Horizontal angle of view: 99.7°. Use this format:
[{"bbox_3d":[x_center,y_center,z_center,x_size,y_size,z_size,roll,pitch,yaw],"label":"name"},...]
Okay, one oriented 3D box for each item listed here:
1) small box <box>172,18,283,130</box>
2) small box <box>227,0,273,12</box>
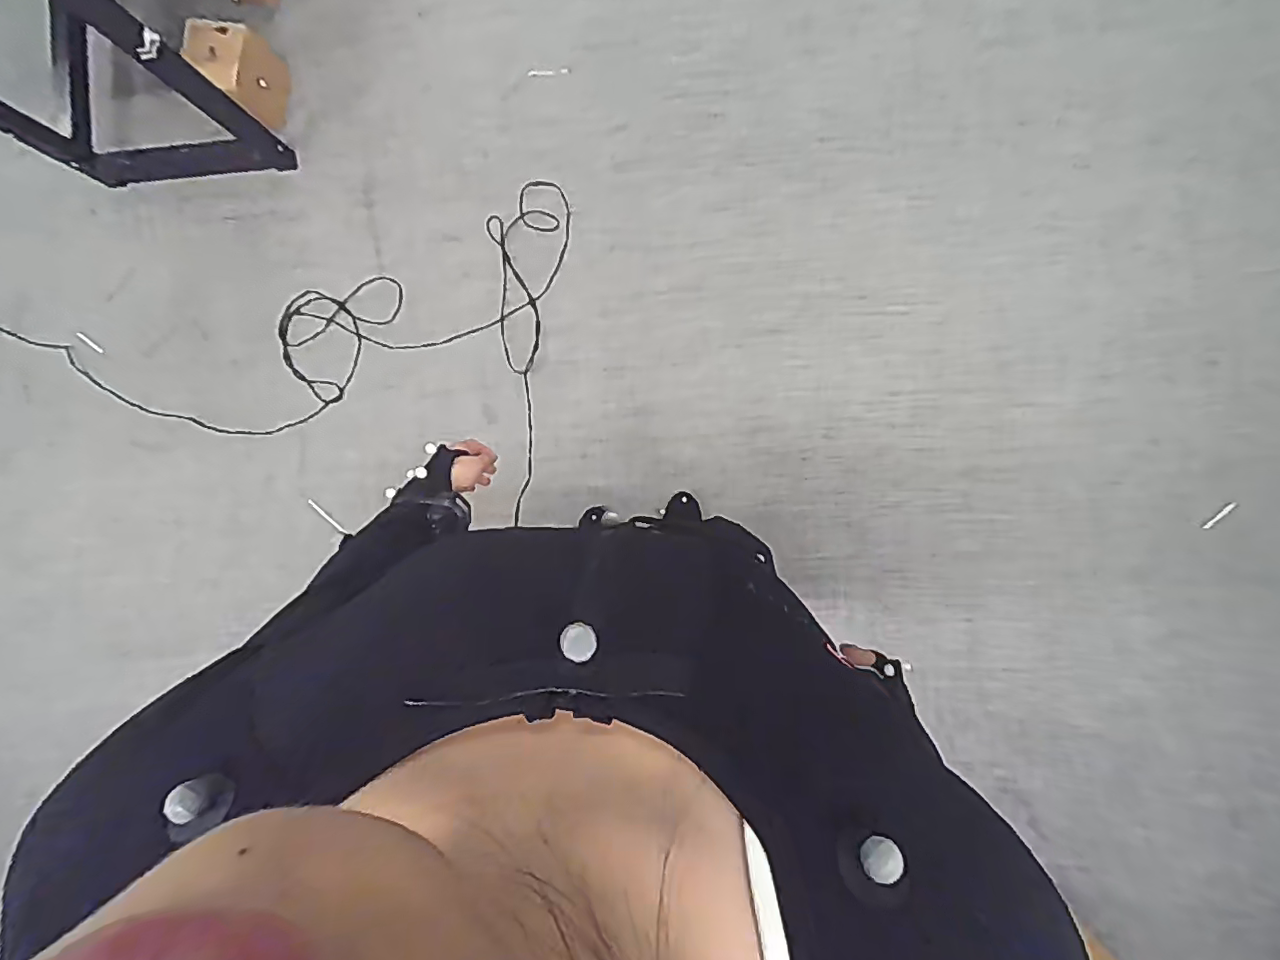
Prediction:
[{"bbox_3d":[-1.104,-1.086,1.460,0.168,0.176,0.179,9,92,3],"label":"small box"},{"bbox_3d":[-1.107,-1.433,1.456,0.168,0.176,0.179,18,93,4],"label":"small box"}]
